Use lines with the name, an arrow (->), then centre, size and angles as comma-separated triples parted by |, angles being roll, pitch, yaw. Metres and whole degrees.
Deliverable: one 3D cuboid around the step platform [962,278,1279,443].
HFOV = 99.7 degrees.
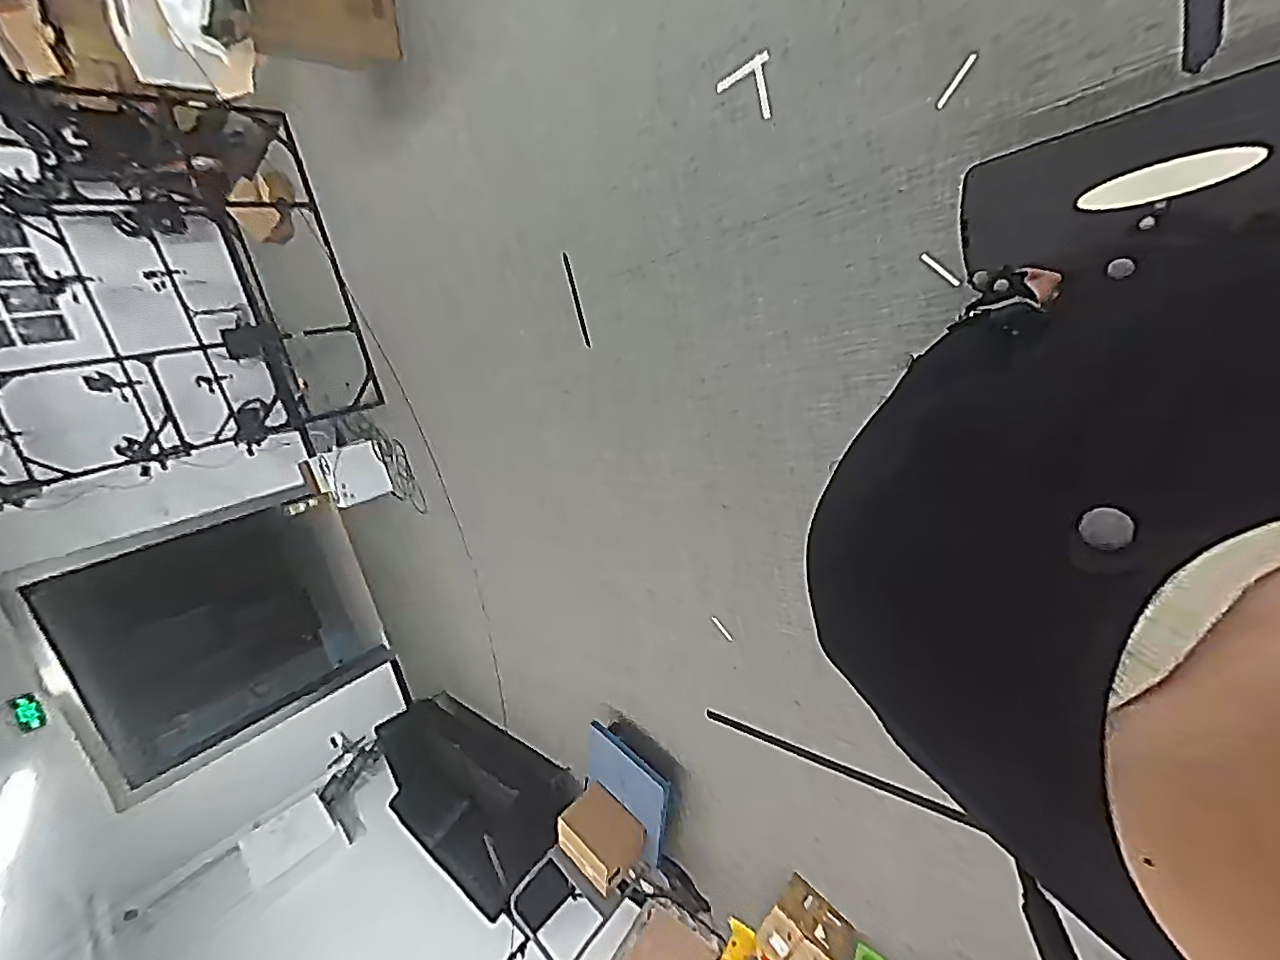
step platform -> 1.027, -0.231, 1.056 | 0.684, 0.204, 0.286 | 8, 113, 46
